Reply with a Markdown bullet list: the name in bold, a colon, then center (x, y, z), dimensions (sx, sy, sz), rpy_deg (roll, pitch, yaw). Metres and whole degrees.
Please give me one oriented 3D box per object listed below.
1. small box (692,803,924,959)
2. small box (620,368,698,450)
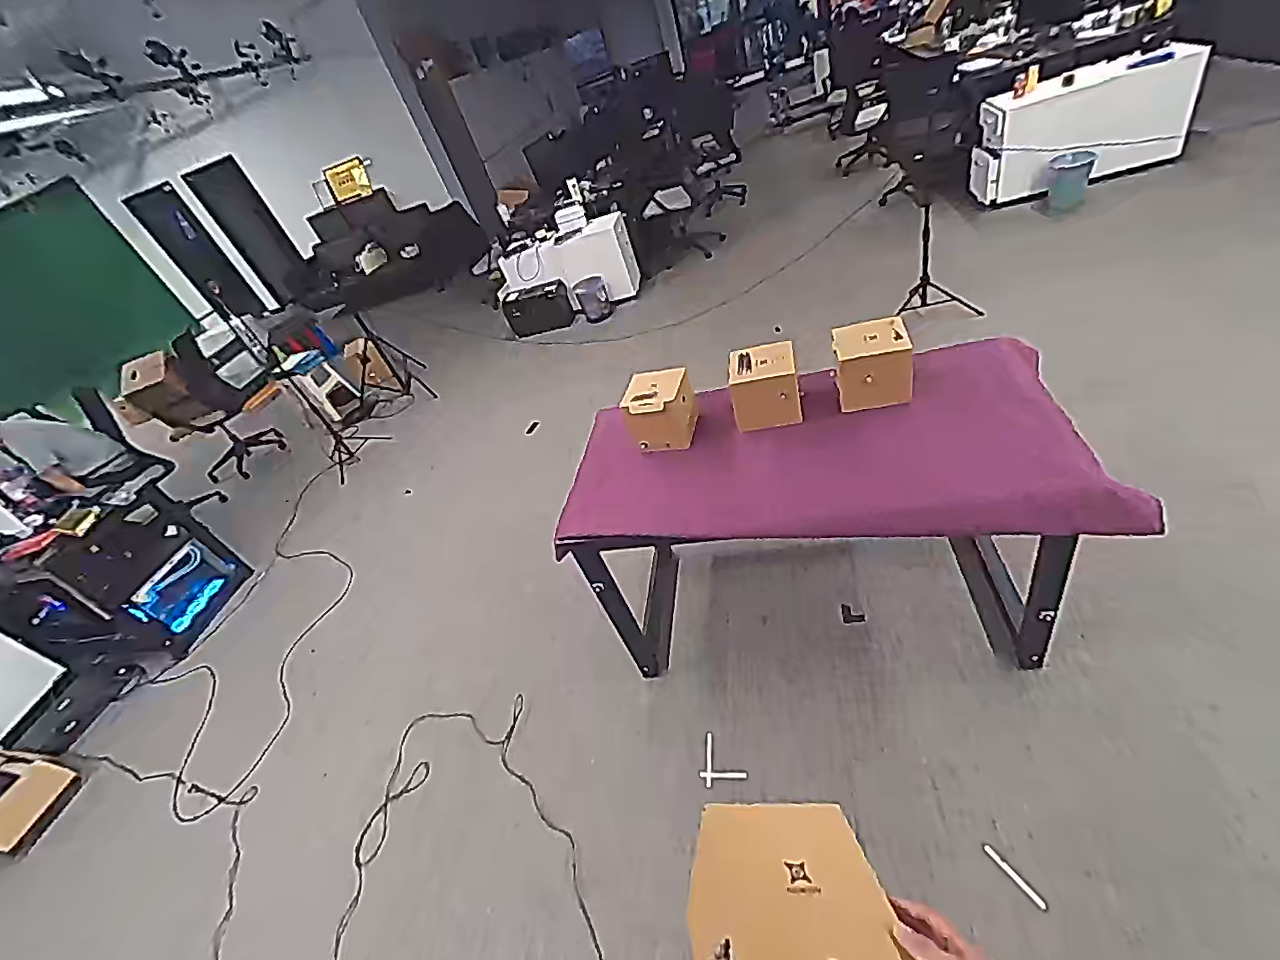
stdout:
- **small box**: center (0.156, 0.476, 0.564), dimensions (0.168, 0.176, 0.179), rpy_deg (4, 16, -7)
- **small box**: center (0.063, -0.201, 1.582), dimensions (0.168, 0.176, 0.179), rpy_deg (-3, 42, 22)
